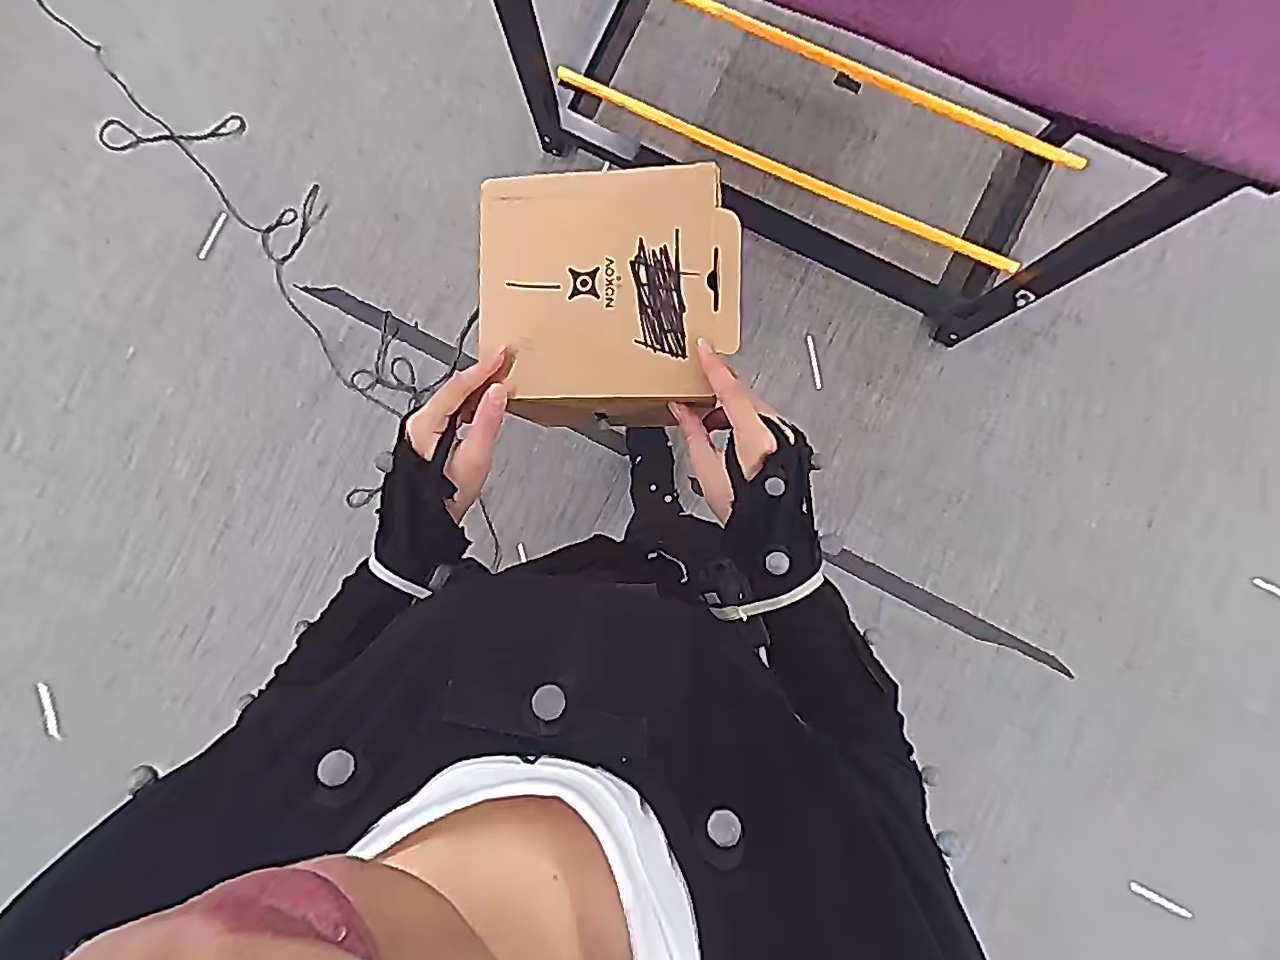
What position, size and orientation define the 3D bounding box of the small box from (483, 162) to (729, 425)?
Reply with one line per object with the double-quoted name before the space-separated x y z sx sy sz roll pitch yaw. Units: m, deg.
"small box" -0.018 -0.139 0.462 0.179 0.176 0.168 0 89 6
